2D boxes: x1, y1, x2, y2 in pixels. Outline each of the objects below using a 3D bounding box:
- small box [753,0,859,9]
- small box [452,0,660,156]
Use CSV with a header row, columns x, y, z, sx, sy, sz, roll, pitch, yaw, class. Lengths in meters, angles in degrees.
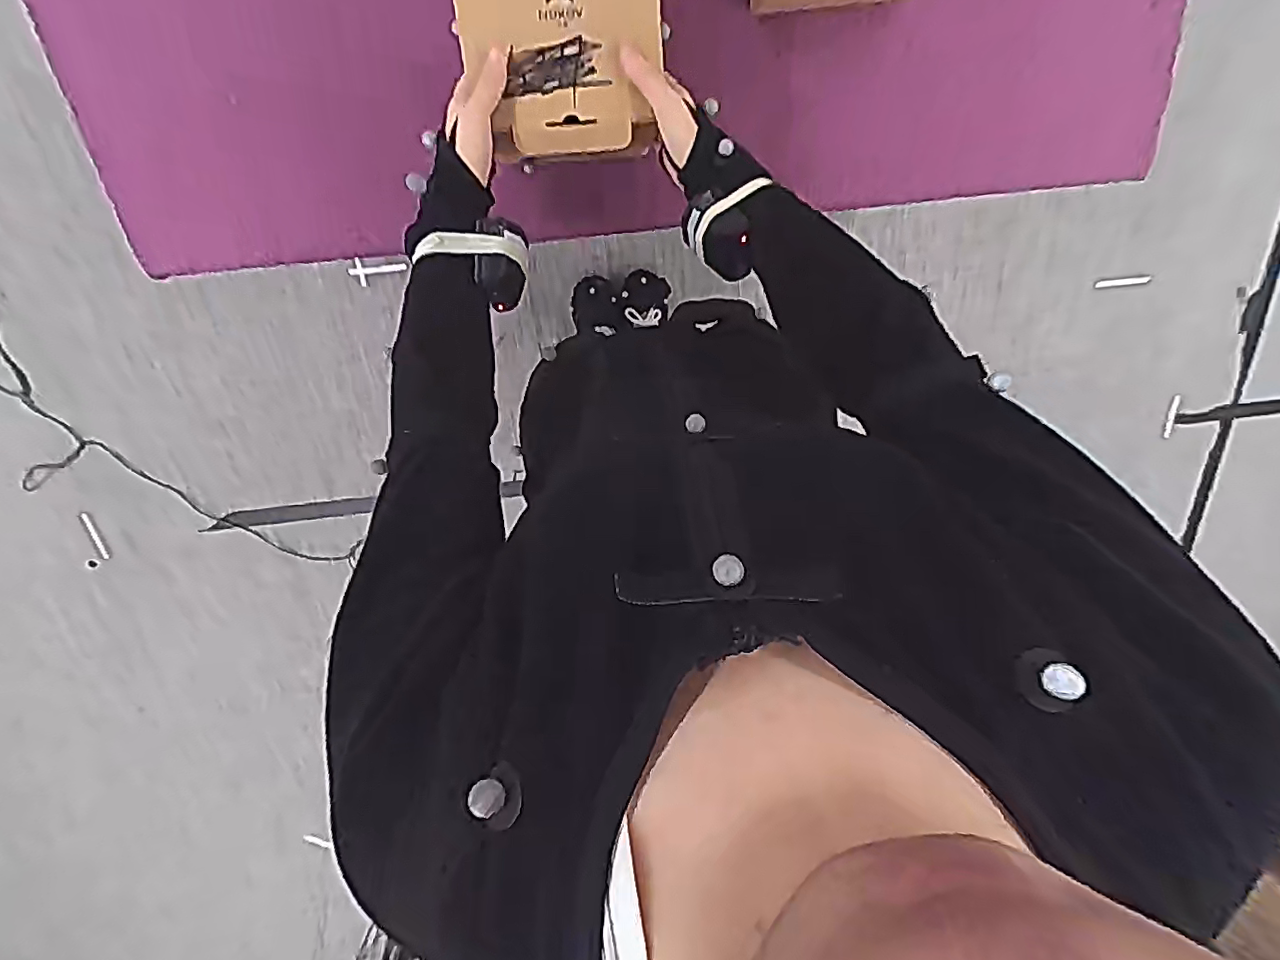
x,y,z,sx,sy,sz,roll,pitch,yaw,class
0.202,-0.556,0.475,0.179,0.176,0.168,-8,112,-2,small box
-0.074,-0.415,0.503,0.168,0.176,0.179,-6,111,-3,small box
